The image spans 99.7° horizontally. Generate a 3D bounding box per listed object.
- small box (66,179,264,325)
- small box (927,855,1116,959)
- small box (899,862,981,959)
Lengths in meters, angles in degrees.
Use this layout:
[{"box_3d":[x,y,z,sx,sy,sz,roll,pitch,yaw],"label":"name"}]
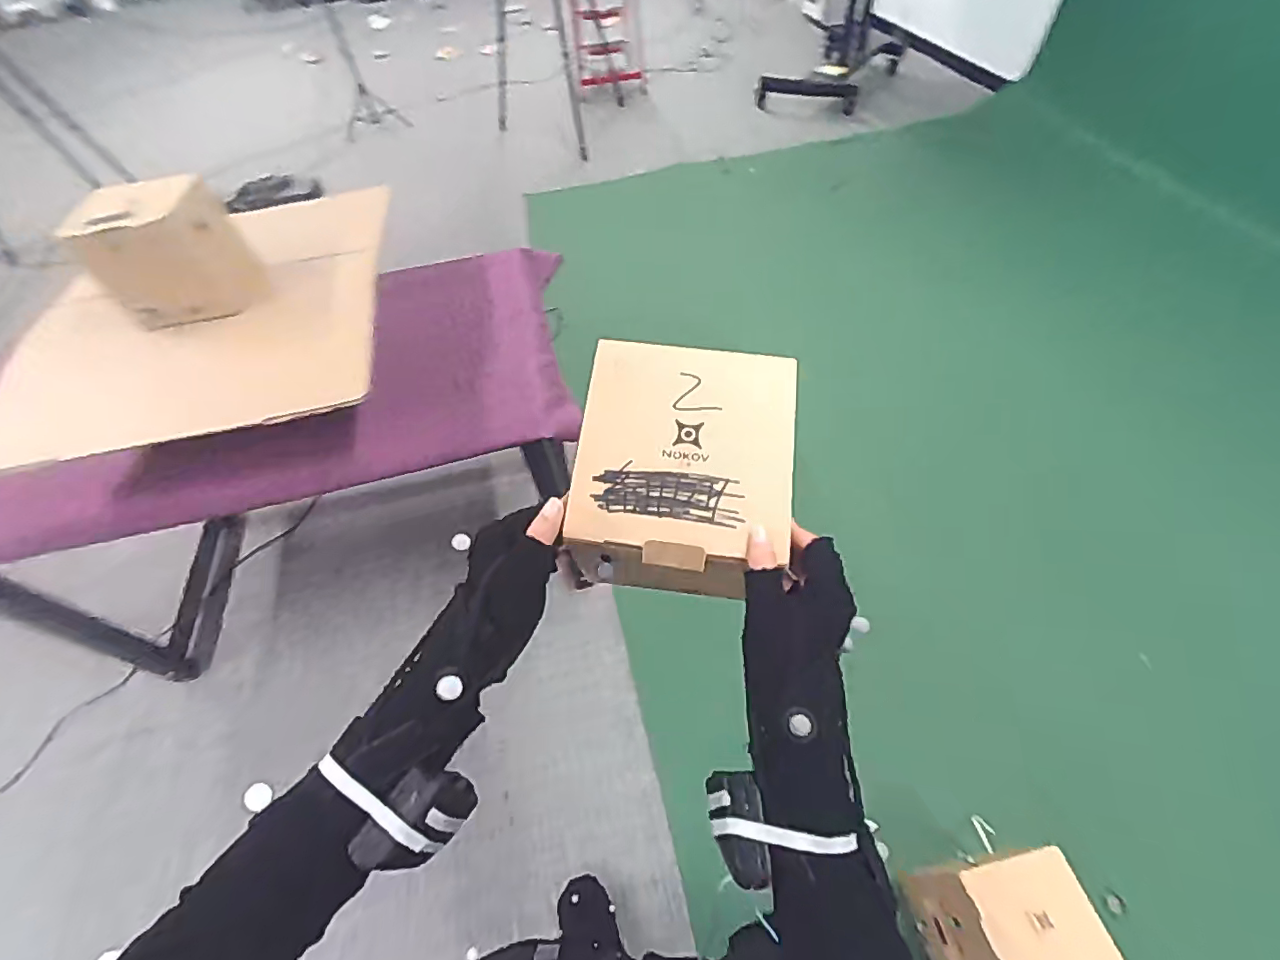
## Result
[{"box_3d":[-0.794,-0.384,0.931,0.168,0.176,0.179,-11,51,-3],"label":"small box"},{"box_3d":[0.618,0.737,0.893,0.179,0.176,0.168,-13,54,-4],"label":"small box"},{"box_3d":[0.629,0.836,1.022,0.179,0.176,0.168,-11,53,-3],"label":"small box"}]
